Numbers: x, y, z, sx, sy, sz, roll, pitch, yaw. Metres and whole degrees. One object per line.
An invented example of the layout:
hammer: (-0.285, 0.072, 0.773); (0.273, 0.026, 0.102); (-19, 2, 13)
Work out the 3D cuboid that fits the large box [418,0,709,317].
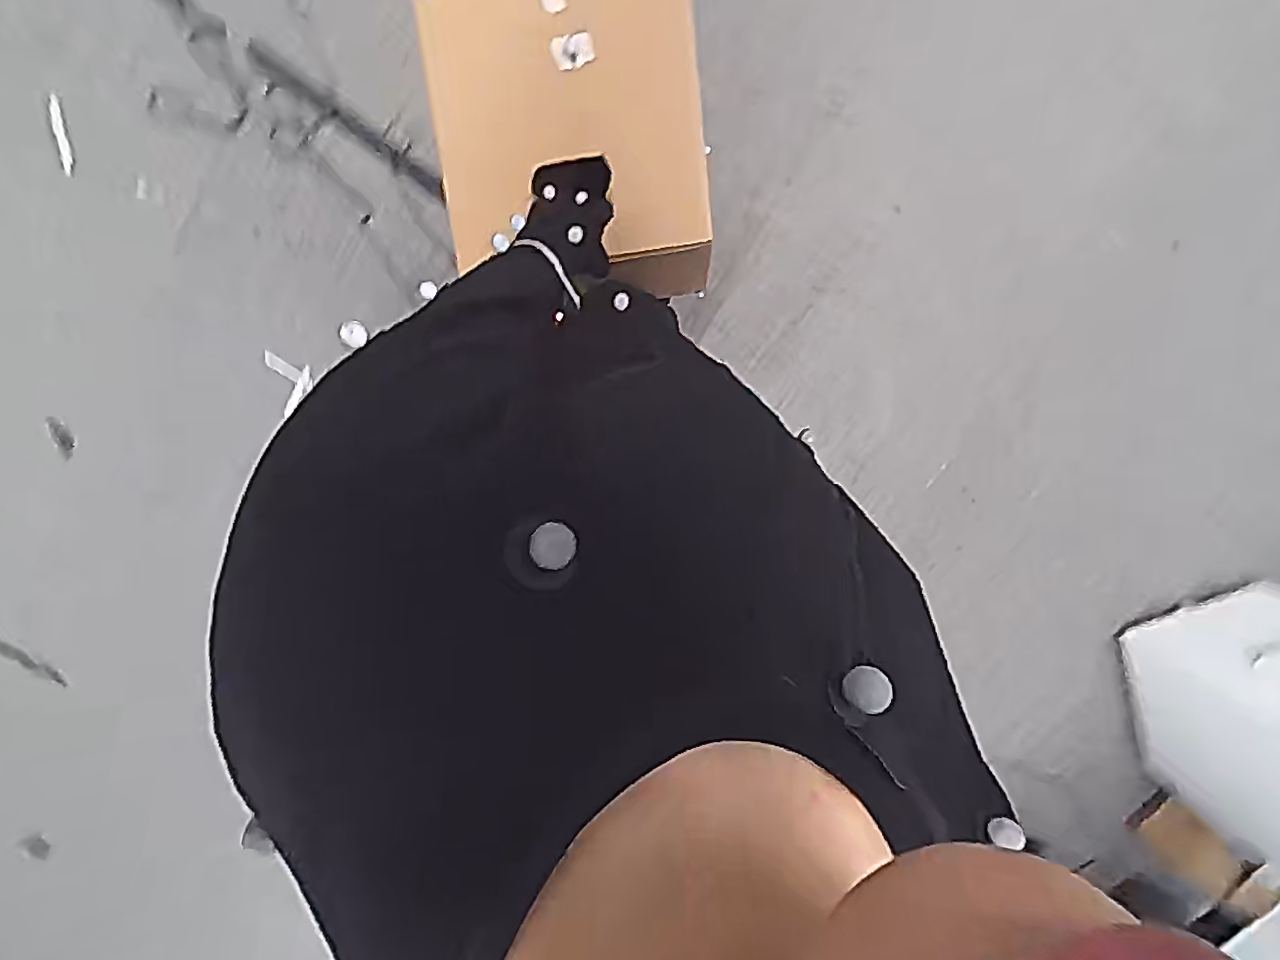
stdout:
large box: (-0.070, -0.440, 0.819); (0.320, 0.408, 0.320); (-5, 102, 7)
